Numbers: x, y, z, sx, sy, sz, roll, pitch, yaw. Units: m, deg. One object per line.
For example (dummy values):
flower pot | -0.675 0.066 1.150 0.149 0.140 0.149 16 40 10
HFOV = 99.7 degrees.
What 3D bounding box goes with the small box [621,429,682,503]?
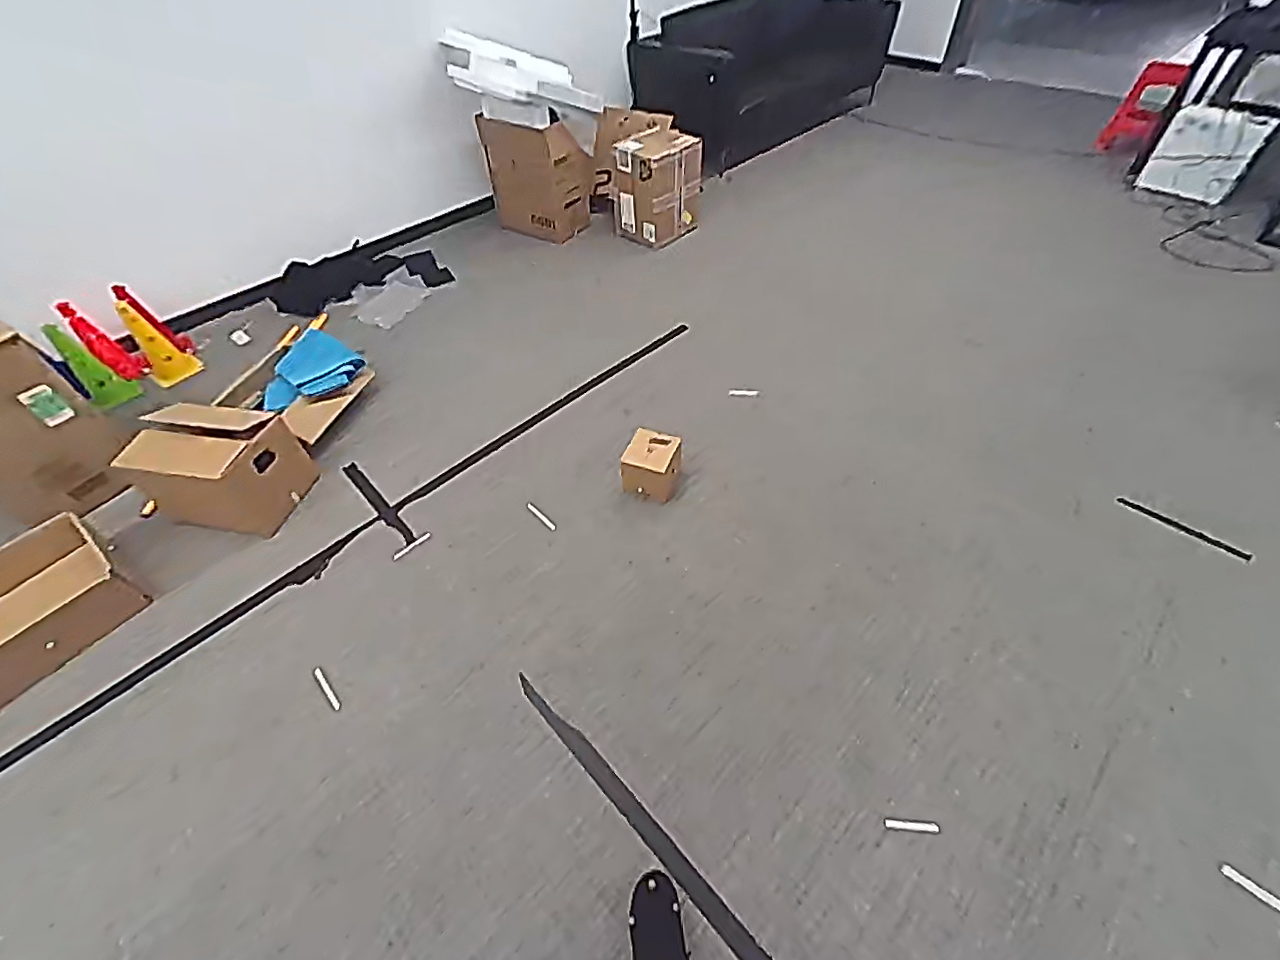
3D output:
small box | 0.044 -0.048 1.933 0.168 0.176 0.179 16 52 17
